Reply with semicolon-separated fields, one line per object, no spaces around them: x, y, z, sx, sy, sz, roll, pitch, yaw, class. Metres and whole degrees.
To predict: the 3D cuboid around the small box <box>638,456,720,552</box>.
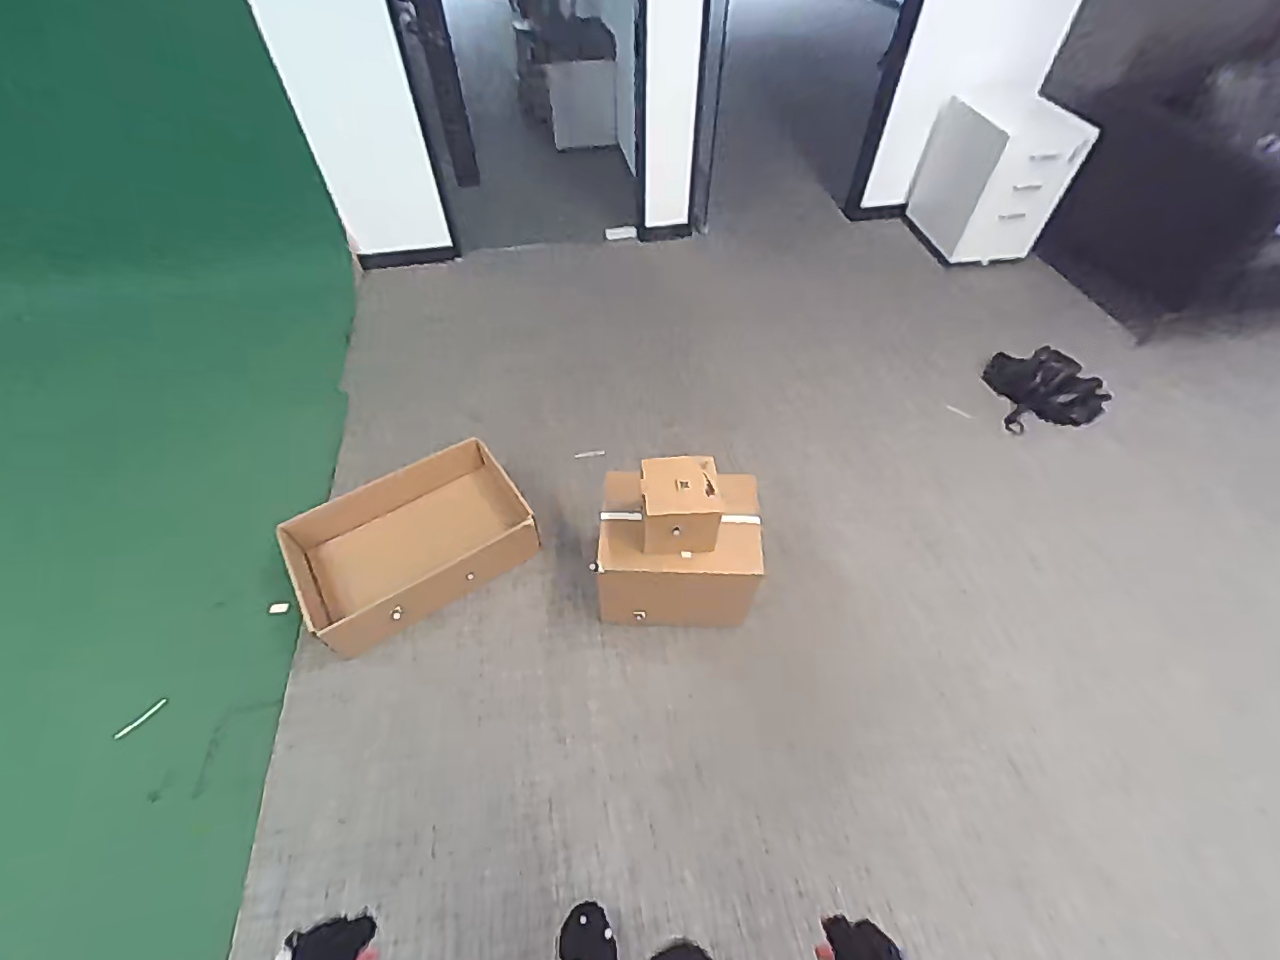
0.088;0.061;1.301;0.179;0.176;0.168;-3;52;-2;small box
